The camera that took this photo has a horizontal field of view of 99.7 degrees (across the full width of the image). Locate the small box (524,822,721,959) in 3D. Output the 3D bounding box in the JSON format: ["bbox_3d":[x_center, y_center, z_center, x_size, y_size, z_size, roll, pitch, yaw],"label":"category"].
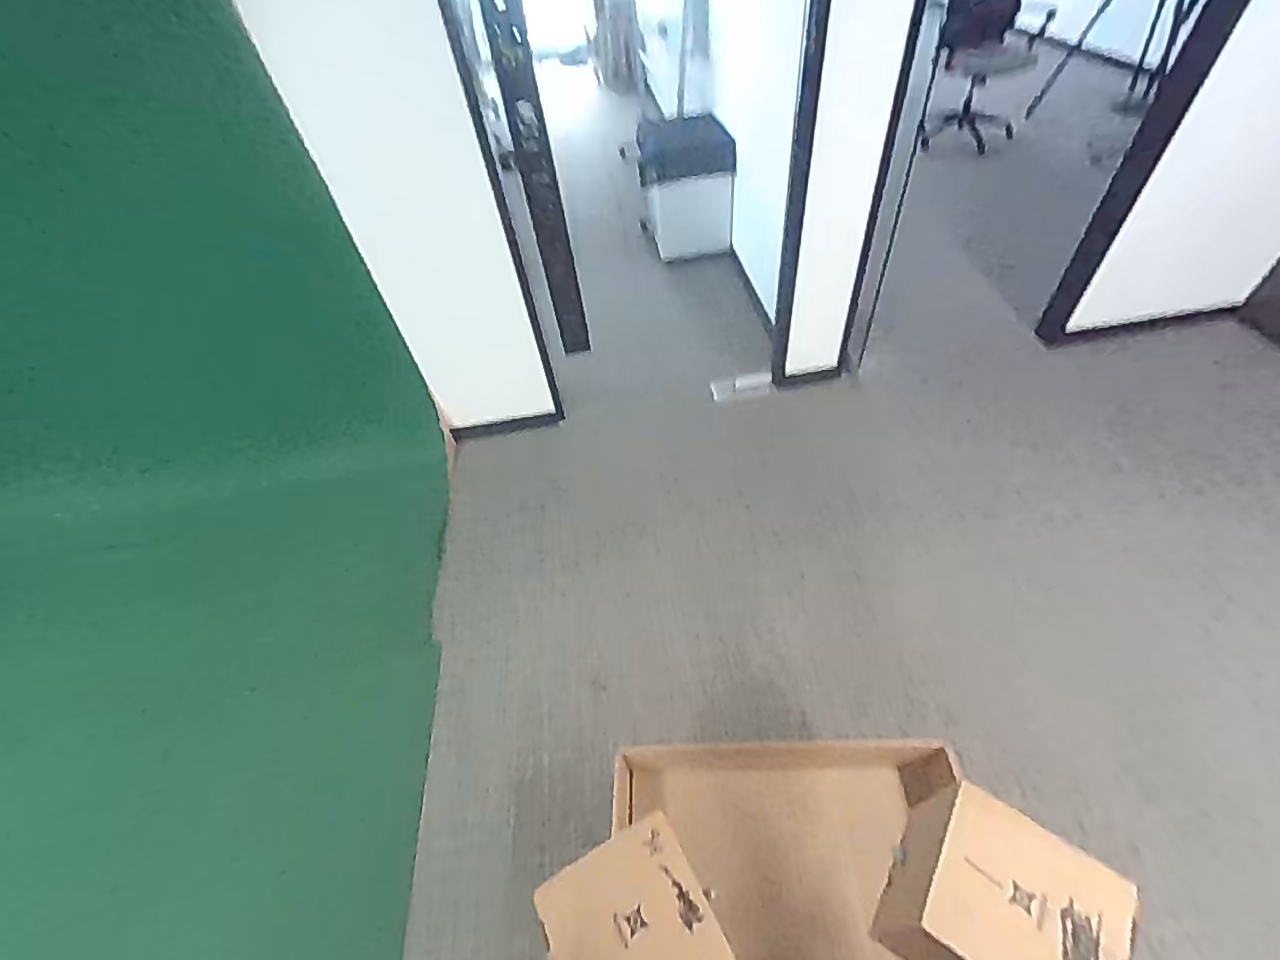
[{"bbox_3d":[-0.009,0.547,0.626,0.179,0.176,0.168,-24,45,-14],"label":"small box"}]

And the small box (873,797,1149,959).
[{"bbox_3d":[0.385,0.490,0.583,0.179,0.176,0.168,29,52,24],"label":"small box"}]
